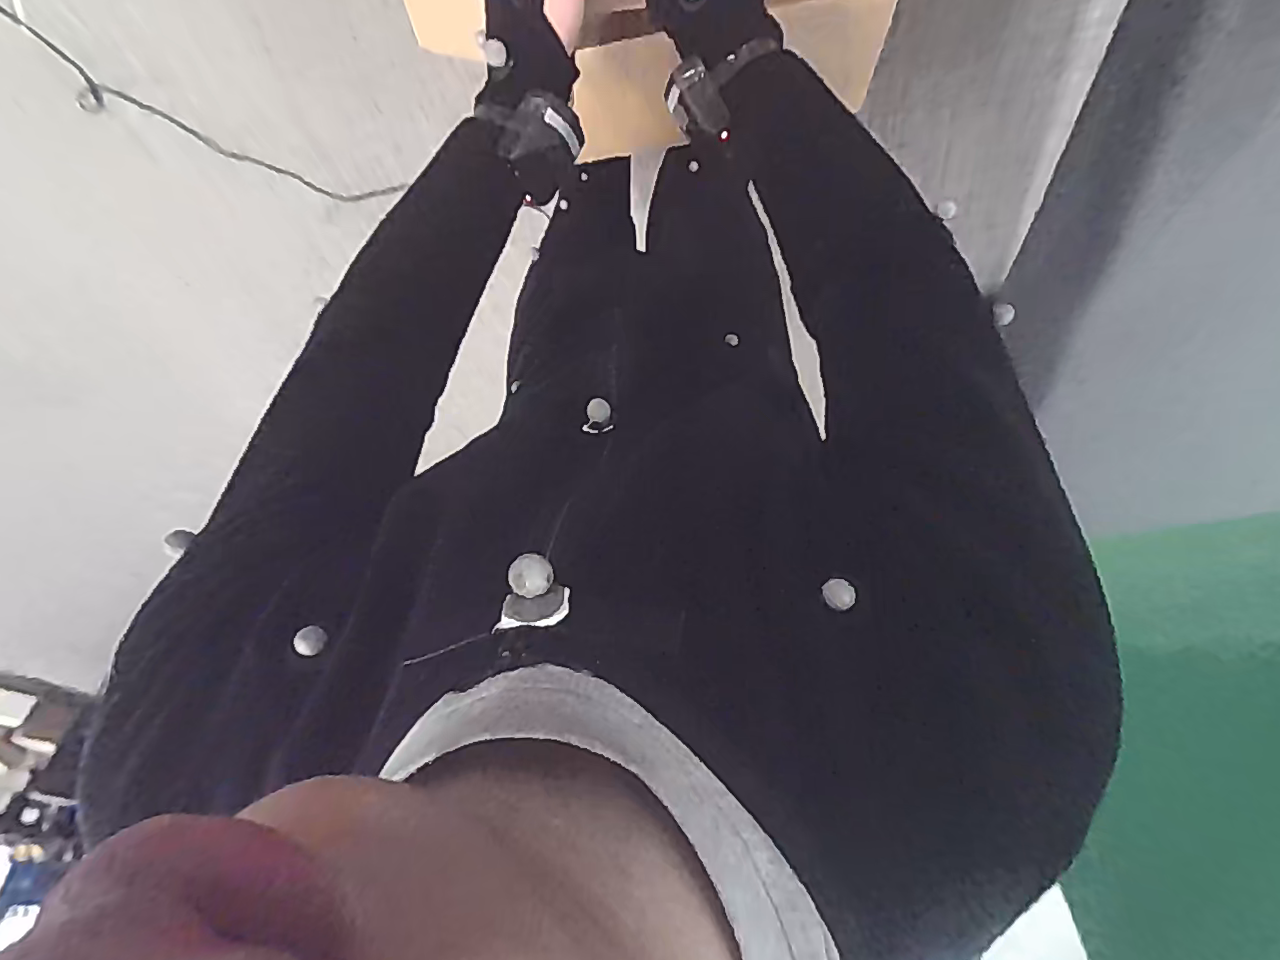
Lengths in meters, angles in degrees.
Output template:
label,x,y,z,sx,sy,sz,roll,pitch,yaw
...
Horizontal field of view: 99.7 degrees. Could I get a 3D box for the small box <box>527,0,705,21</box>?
label,x,y,z,sx,sy,sz,roll,pitch,yaw
small box,-0.024,-0.520,0.424,0.179,0.176,0.168,-2,173,5
